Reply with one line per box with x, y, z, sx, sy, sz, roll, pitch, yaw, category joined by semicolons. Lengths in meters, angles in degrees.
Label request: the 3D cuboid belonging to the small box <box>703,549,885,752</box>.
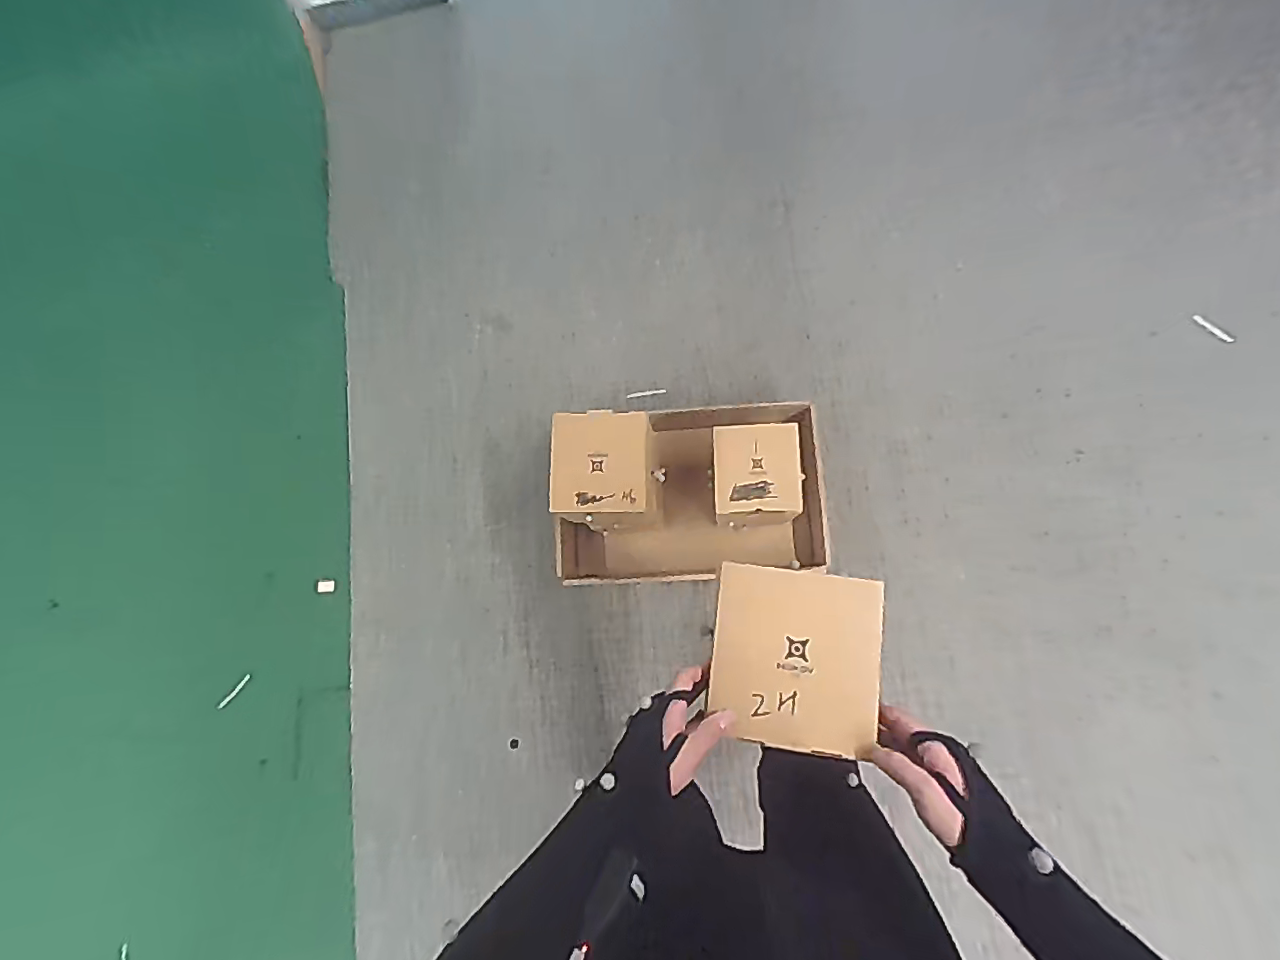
0.164;0.182;0.620;0.168;0.176;0.179;7;80;7;small box

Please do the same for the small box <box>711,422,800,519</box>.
0.233;-0.011;1.116;0.168;0.176;0.179;-1;79;8;small box

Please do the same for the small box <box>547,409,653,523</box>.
-0.064;-0.021;0.986;0.168;0.176;0.179;0;79;5;small box

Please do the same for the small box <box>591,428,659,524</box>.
-0.047;-0.003;1.149;0.168;0.176;0.179;-3;80;5;small box
